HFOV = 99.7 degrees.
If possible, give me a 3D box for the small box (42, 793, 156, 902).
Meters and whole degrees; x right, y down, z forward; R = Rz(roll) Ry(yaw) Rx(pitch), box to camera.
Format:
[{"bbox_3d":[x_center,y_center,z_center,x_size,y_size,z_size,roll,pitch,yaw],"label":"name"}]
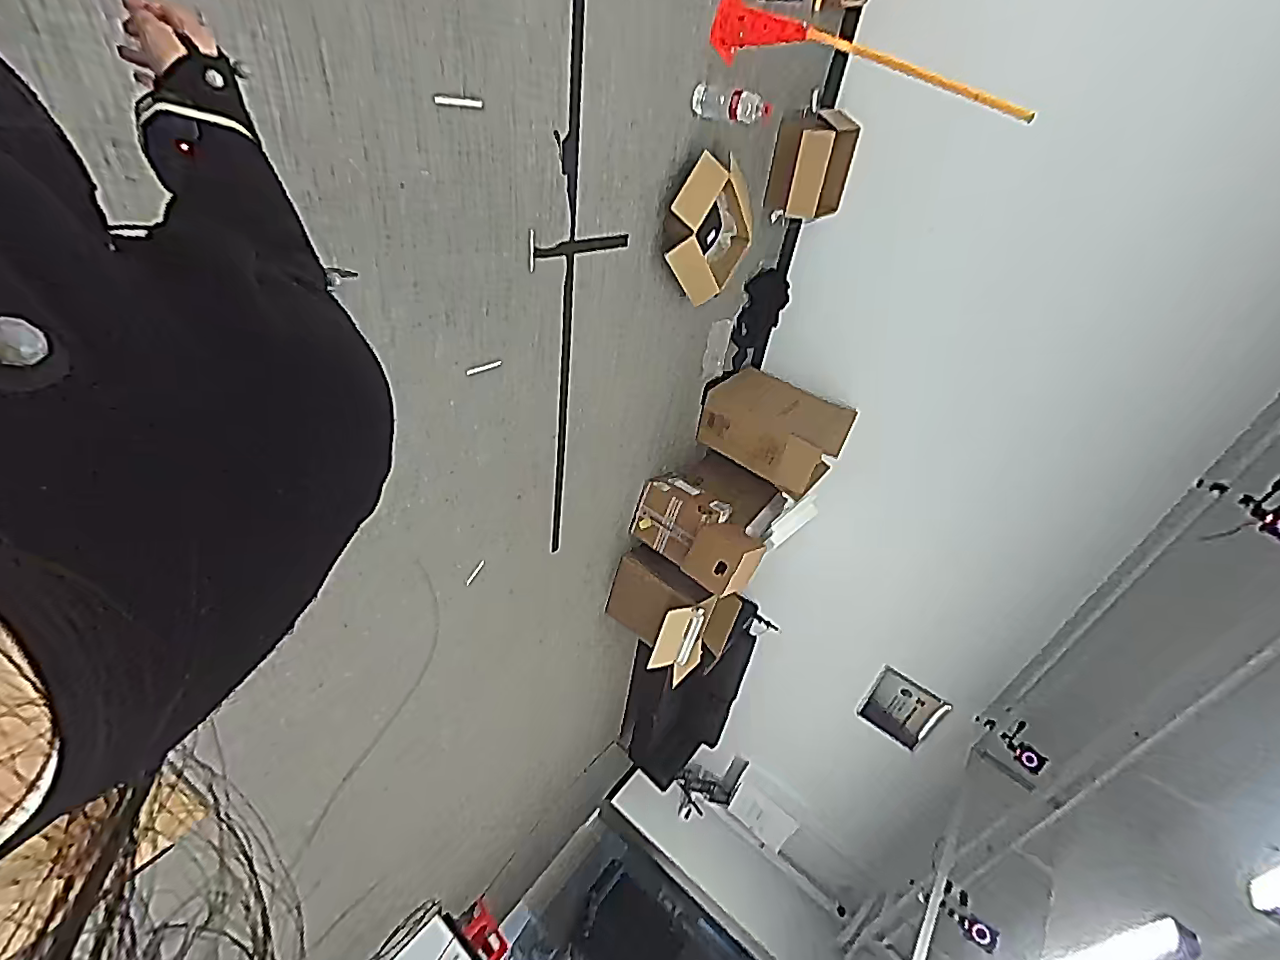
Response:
[{"bbox_3d":[-1.550,1.044,1.551,0.168,0.176,0.179,-32,143,-41],"label":"small box"}]
